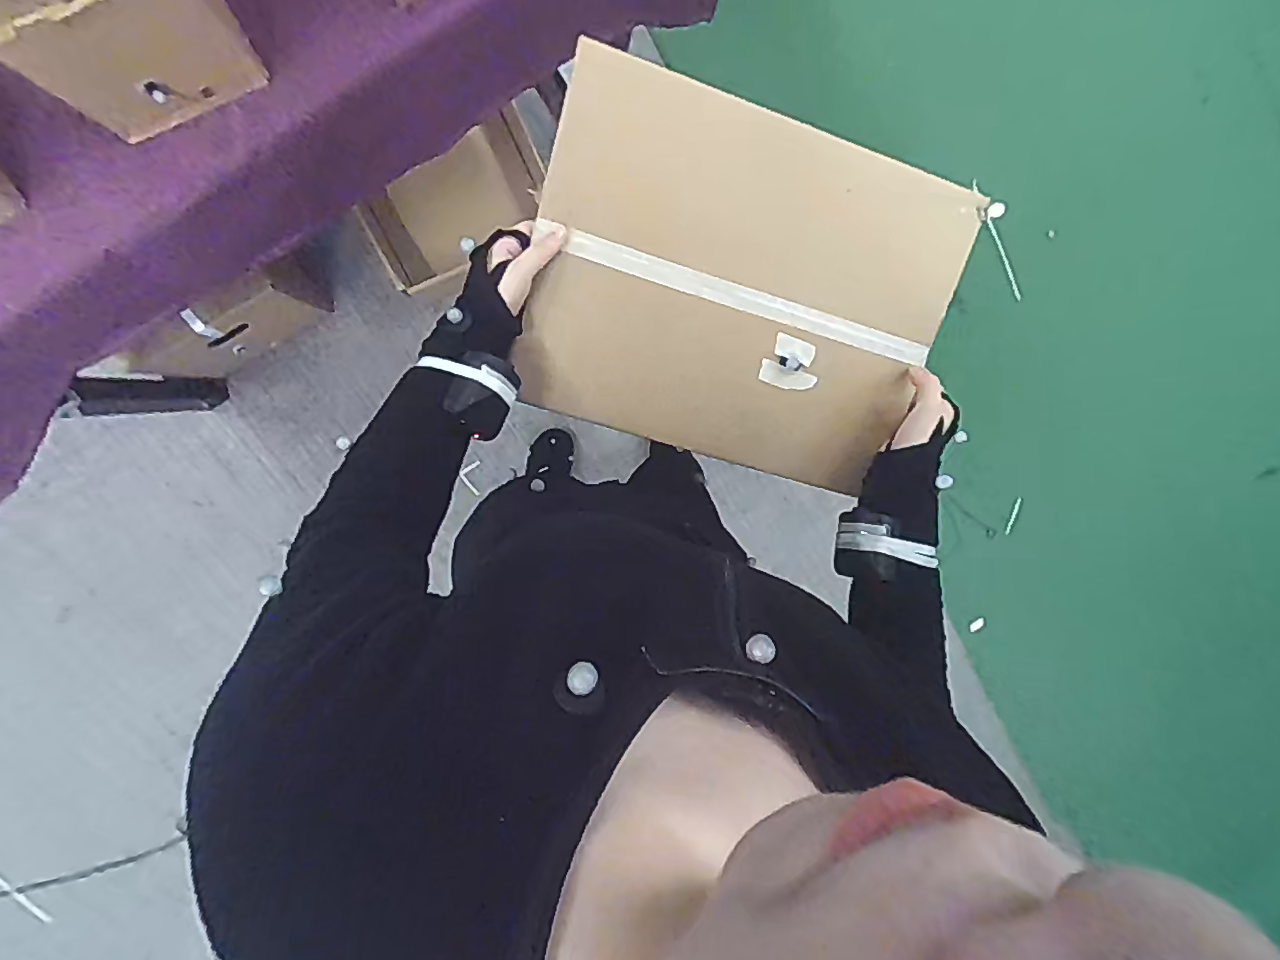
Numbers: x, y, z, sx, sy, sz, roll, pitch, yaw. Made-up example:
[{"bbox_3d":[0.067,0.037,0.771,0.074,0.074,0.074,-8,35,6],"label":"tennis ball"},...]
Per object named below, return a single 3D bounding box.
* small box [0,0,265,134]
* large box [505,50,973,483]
[{"bbox_3d":[-0.505,-0.471,0.499,0.168,0.176,0.179,-28,103,-5],"label":"small box"},{"bbox_3d":[0.078,-0.218,0.665,0.408,0.320,0.320,14,104,-10],"label":"large box"}]
